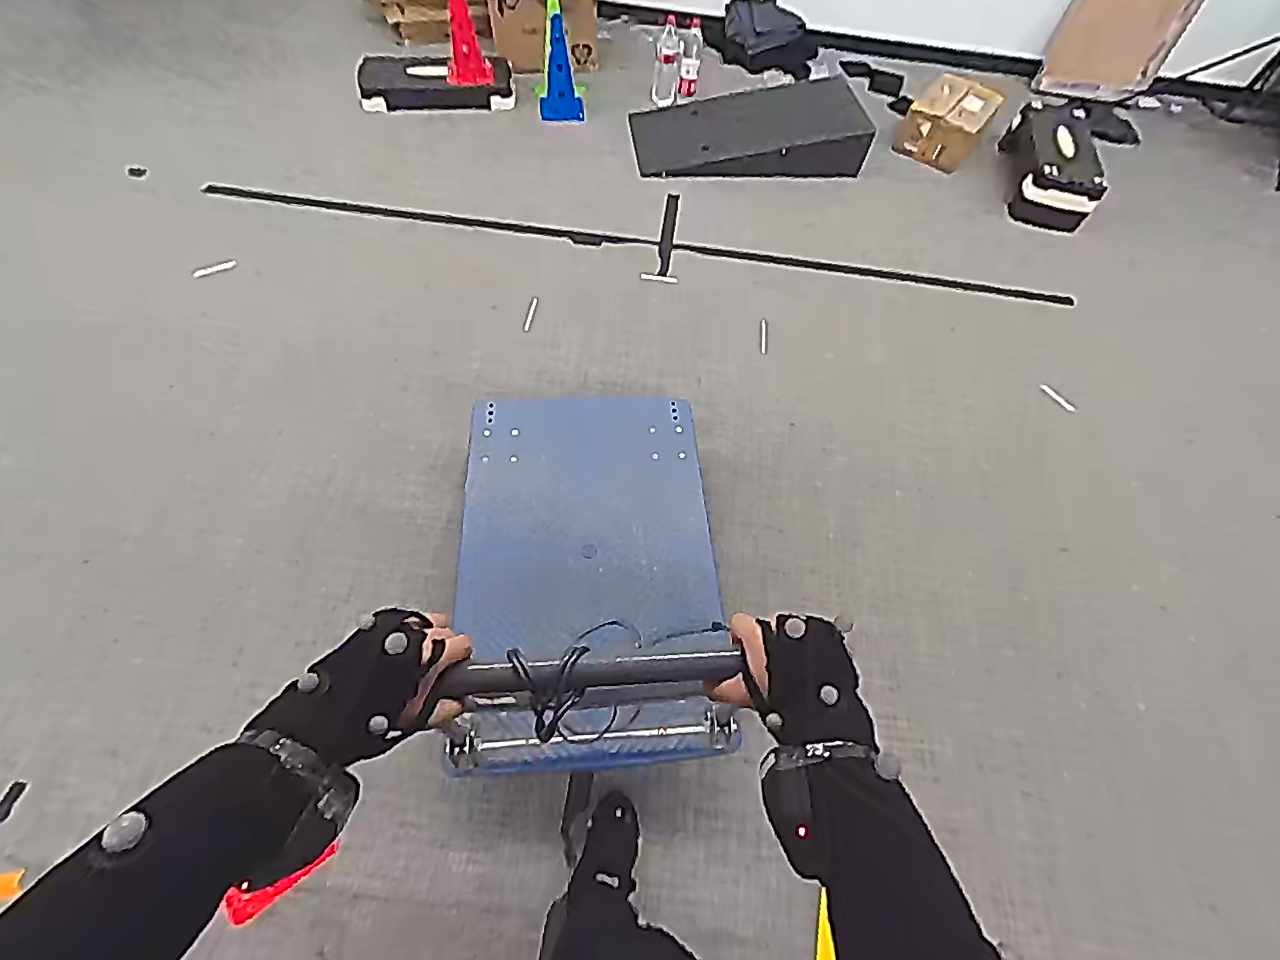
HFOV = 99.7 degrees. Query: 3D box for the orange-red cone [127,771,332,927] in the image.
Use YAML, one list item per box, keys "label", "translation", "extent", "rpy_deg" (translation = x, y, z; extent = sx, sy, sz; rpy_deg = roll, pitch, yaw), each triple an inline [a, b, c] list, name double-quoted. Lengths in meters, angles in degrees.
- label: "orange-red cone"
  translation: [-0.710, 0.619, 0.903]
  extent: [0.199, 0.360, 0.198]
  rpy_deg: [-32, 68, -23]
